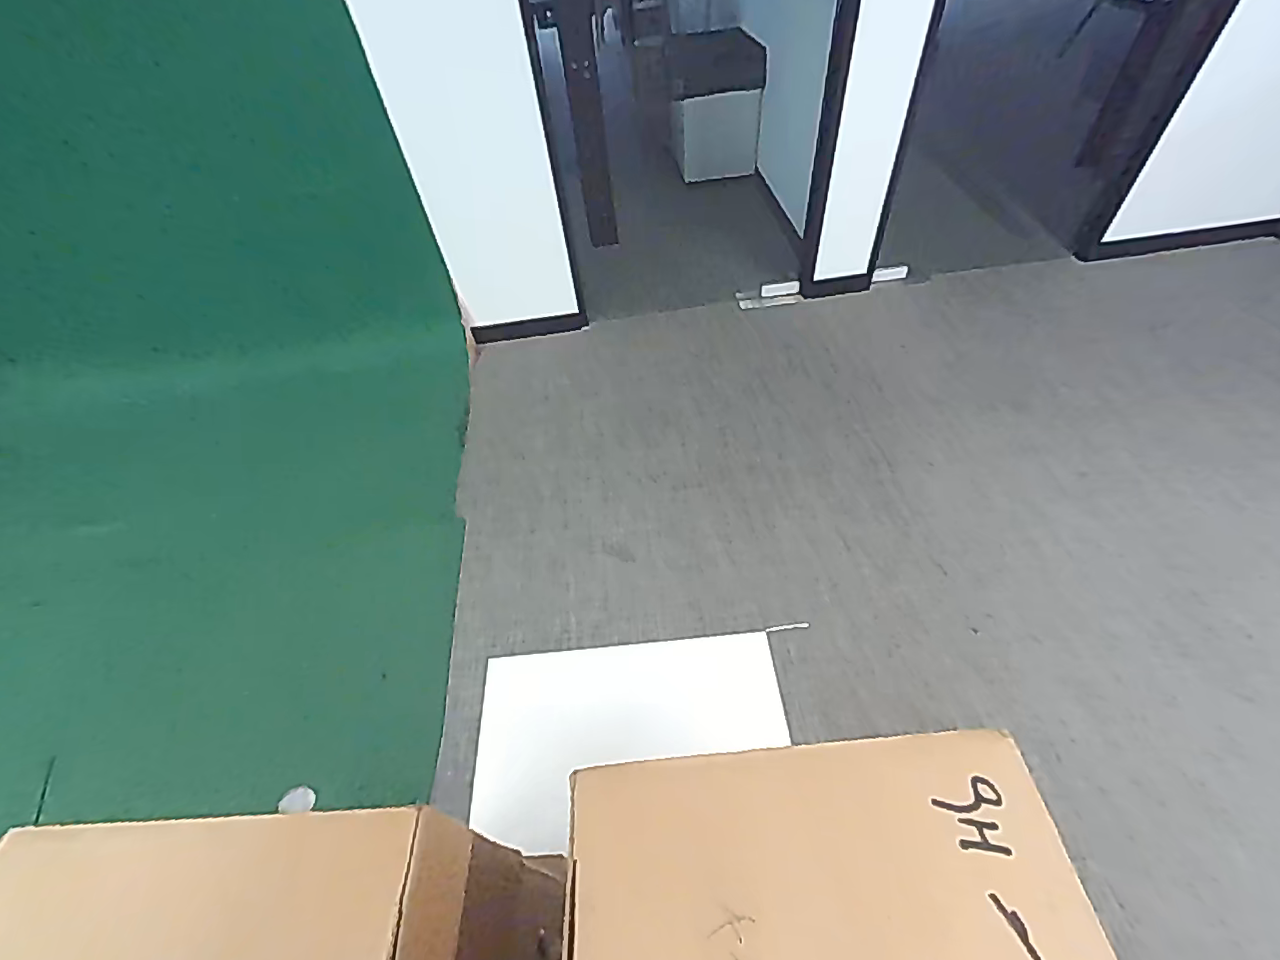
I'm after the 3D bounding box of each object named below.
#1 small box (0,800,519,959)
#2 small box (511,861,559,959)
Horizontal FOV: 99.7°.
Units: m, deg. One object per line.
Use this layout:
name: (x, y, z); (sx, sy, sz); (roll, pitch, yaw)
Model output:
small box: (-0.165, 0.249, 0.230); (0.179, 0.176, 0.168); (-4, 49, 1)
small box: (-0.150, 0.359, 0.350); (0.179, 0.176, 0.168); (-6, 49, 1)
